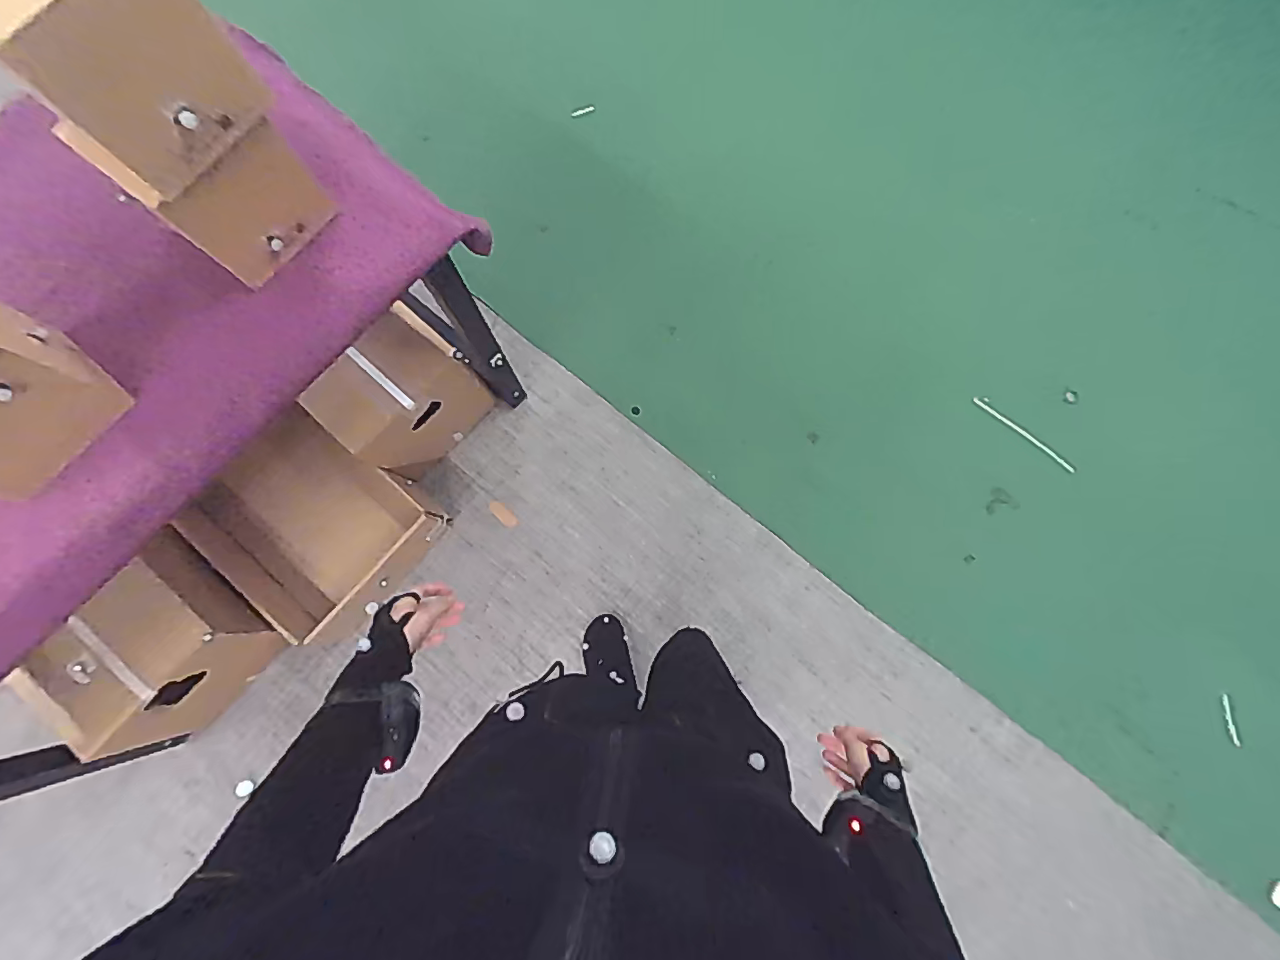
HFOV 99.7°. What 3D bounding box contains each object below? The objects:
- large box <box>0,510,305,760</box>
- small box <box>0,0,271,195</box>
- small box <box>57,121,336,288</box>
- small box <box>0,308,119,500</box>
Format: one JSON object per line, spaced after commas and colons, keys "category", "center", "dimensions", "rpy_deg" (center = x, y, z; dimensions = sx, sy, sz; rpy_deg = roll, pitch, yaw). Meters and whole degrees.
{"category": "large box", "center": [-1.076, 0.326, 1.204], "dimensions": [0.408, 0.320, 0.320], "rpy_deg": [39, 80, 7]}
{"category": "small box", "center": [-0.526, -0.426, 0.530], "dimensions": [0.179, 0.176, 0.168], "rpy_deg": [37, 81, 9]}
{"category": "small box", "center": [-0.543, -0.382, 0.689], "dimensions": [0.179, 0.176, 0.168], "rpy_deg": [37, 81, 10]}
{"category": "small box", "center": [-0.770, -0.102, 0.622], "dimensions": [0.168, 0.176, 0.179], "rpy_deg": [38, 80, 10]}
